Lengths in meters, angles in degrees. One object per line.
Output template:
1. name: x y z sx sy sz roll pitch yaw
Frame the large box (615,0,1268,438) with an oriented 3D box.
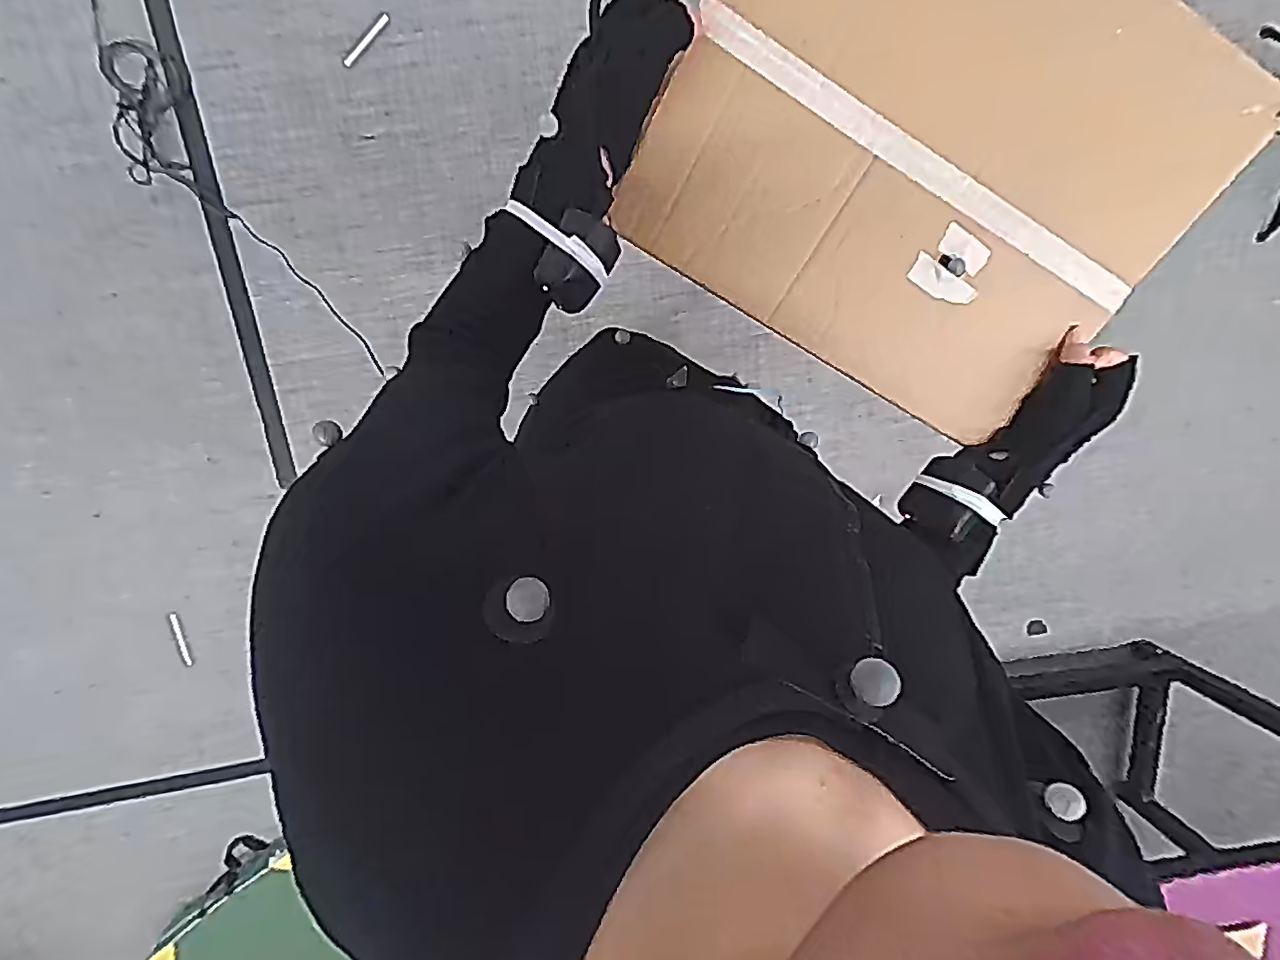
1. large box: 0.228 -0.309 0.562 0.408 0.320 0.320 29 114 -9
